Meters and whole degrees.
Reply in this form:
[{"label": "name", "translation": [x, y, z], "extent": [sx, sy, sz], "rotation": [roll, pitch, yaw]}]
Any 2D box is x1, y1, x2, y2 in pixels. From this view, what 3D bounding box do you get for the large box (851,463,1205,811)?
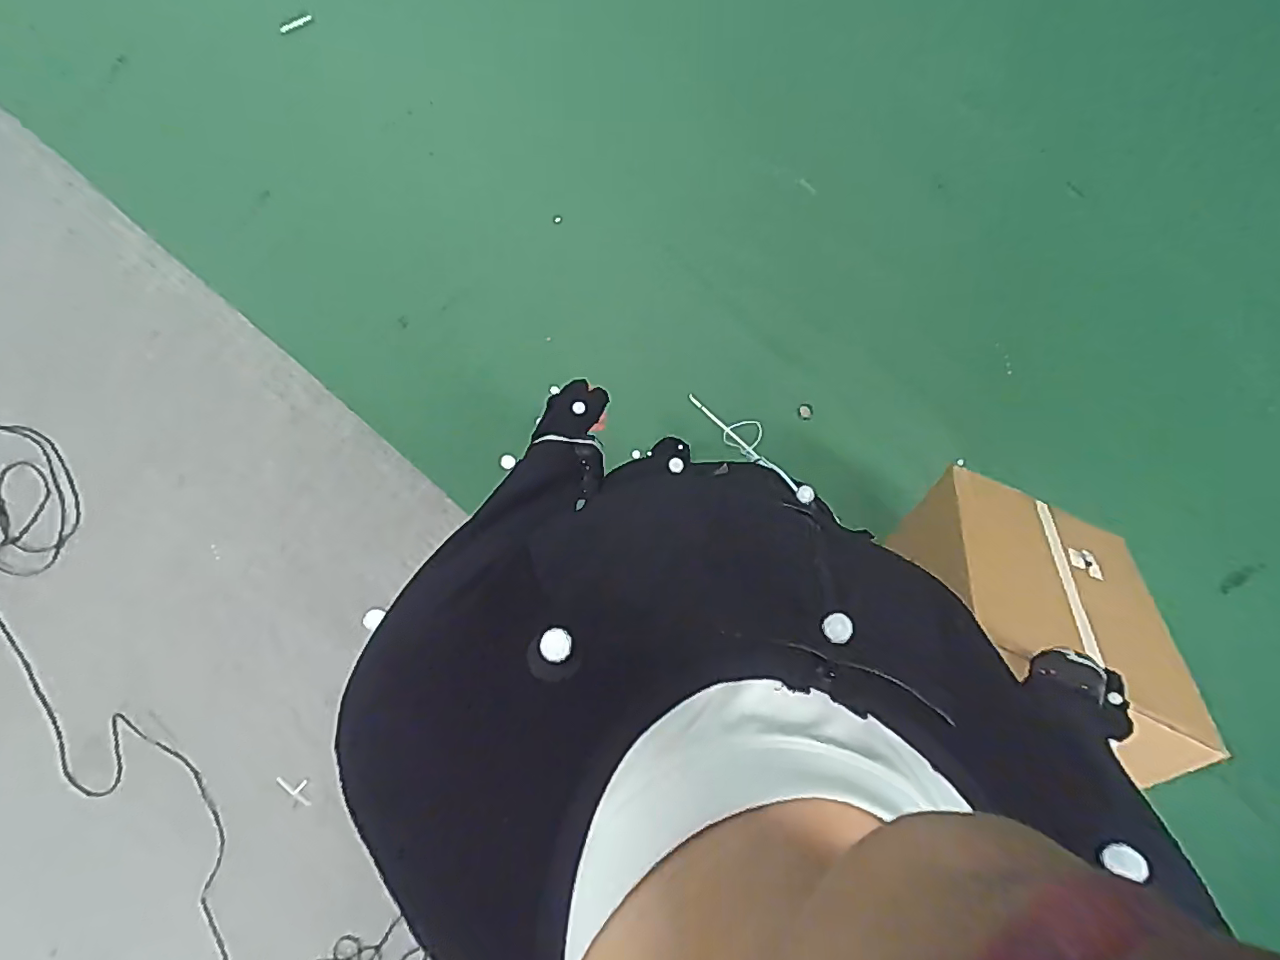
[{"label": "large box", "translation": [0.580, 0.250, 0.917], "extent": [0.320, 0.408, 0.320], "rotation": [26, 130, 4]}]
